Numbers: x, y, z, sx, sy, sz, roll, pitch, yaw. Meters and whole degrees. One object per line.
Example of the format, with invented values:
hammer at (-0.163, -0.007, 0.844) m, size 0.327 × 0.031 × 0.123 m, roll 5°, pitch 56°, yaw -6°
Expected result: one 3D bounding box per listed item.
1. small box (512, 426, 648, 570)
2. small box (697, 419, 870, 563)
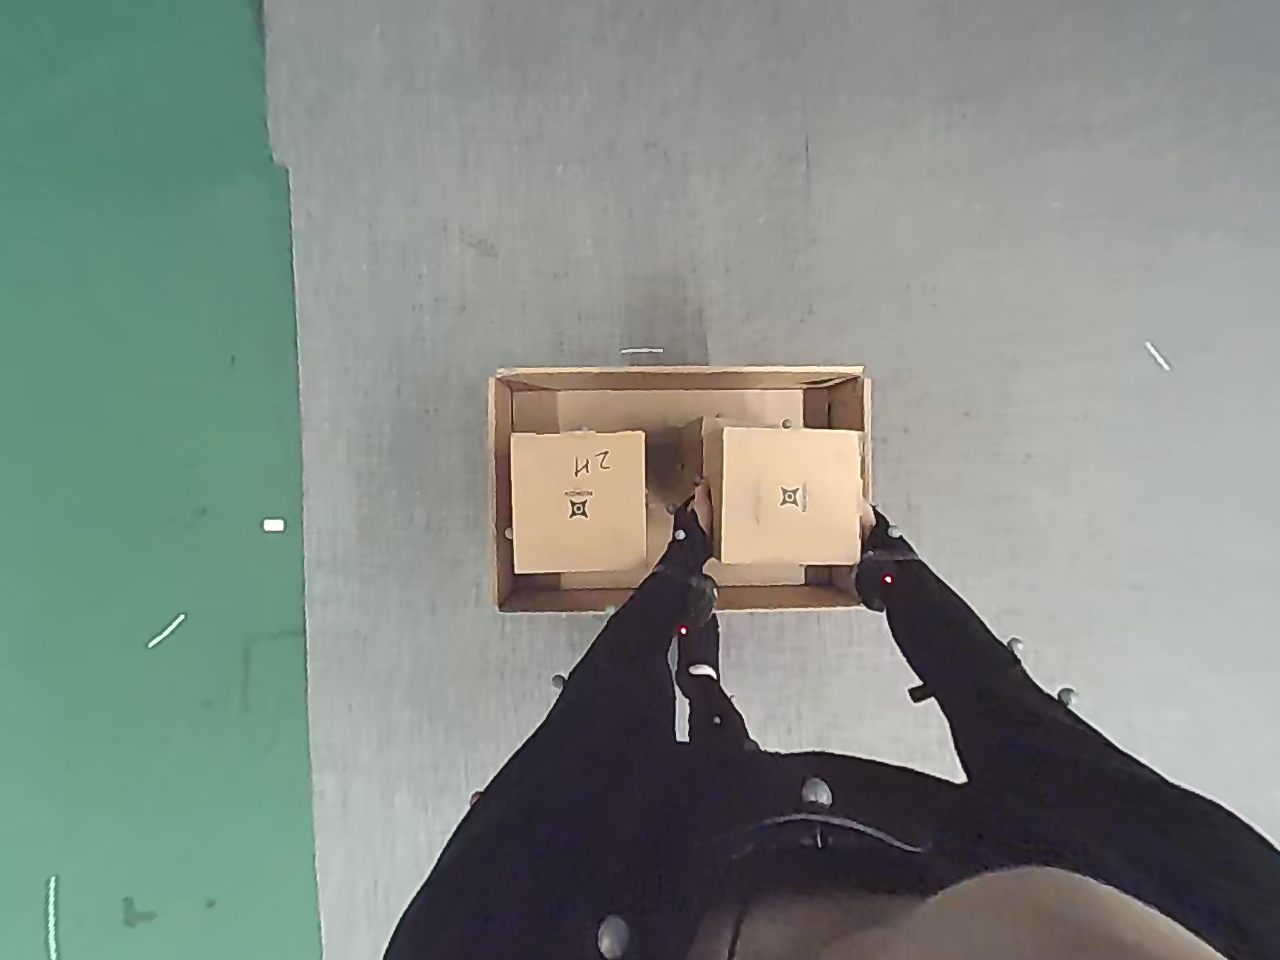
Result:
small box at (-0.074, 0.019, 0.732) m, size 0.168 × 0.176 × 0.179 m, roll 0°, pitch 91°, yaw -2°
small box at (0.179, 0.013, 0.714) m, size 0.179 × 0.176 × 0.168 m, roll 2°, pitch 90°, yaw -3°
